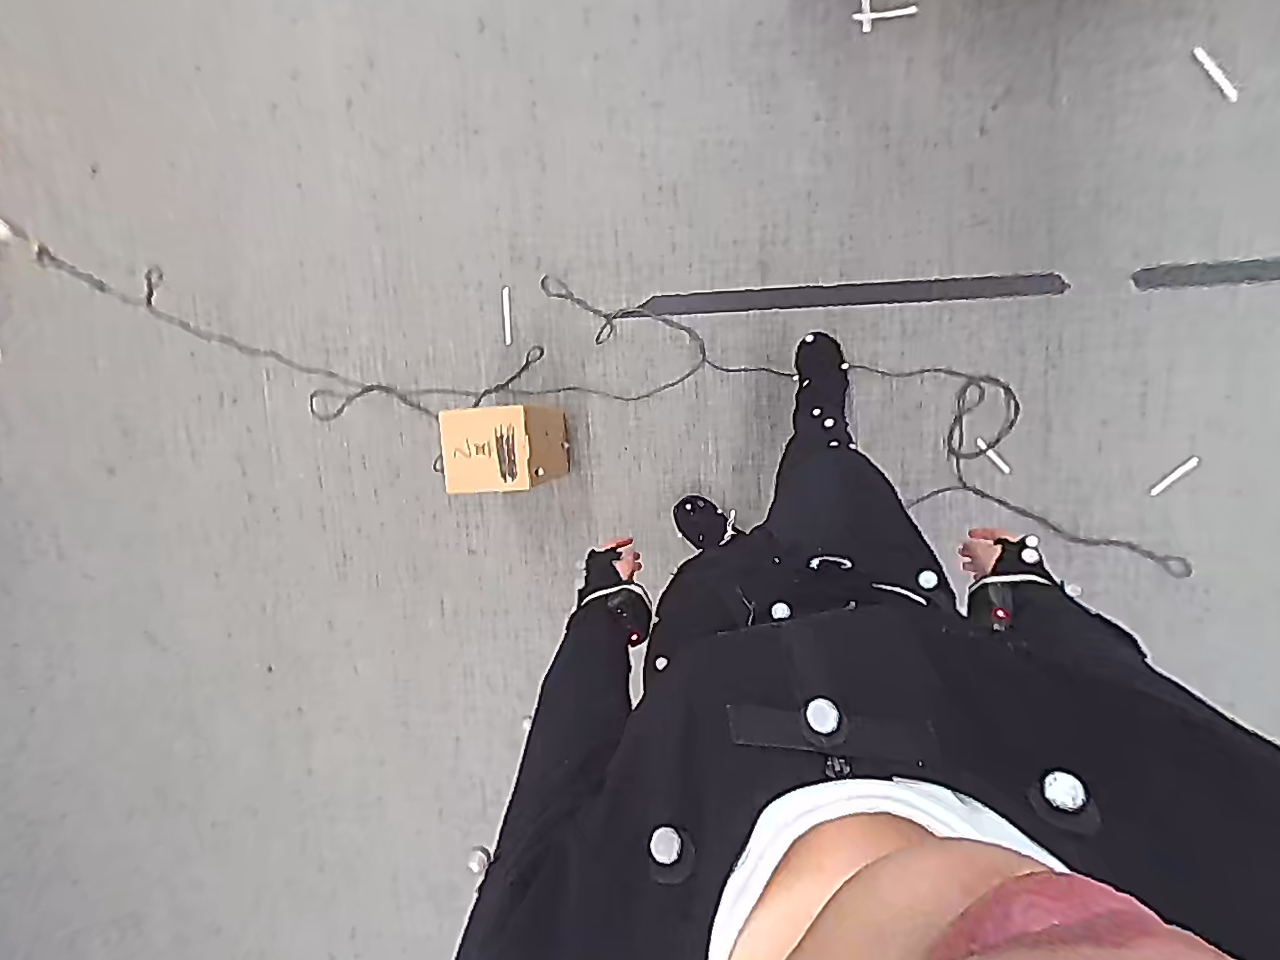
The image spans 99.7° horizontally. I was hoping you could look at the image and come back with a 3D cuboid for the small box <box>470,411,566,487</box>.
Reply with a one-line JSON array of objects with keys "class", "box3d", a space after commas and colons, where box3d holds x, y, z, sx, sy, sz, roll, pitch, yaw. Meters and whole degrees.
[{"class": "small box", "box3d": [-0.286, -0.074, 1.295, 0.179, 0.176, 0.168, -4, 96, 5]}]
